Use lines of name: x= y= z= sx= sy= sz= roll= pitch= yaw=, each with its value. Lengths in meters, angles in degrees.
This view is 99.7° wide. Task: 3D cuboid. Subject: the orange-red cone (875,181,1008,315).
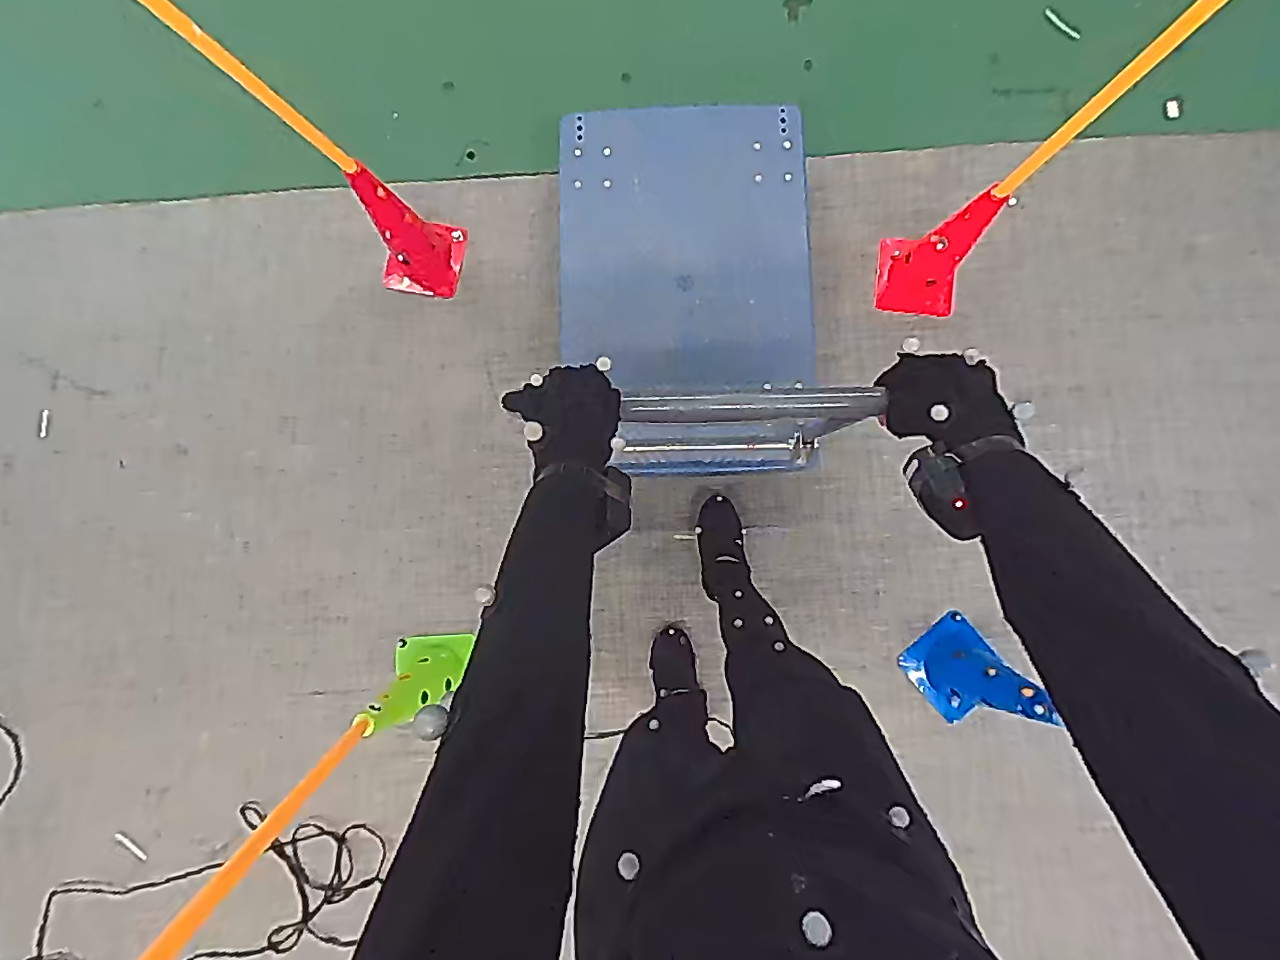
orange-red cone: x=0.712 y=-0.548 z=1.234 sx=0.198 sy=0.360 sz=0.199 roll=8 pitch=85 yaw=3
